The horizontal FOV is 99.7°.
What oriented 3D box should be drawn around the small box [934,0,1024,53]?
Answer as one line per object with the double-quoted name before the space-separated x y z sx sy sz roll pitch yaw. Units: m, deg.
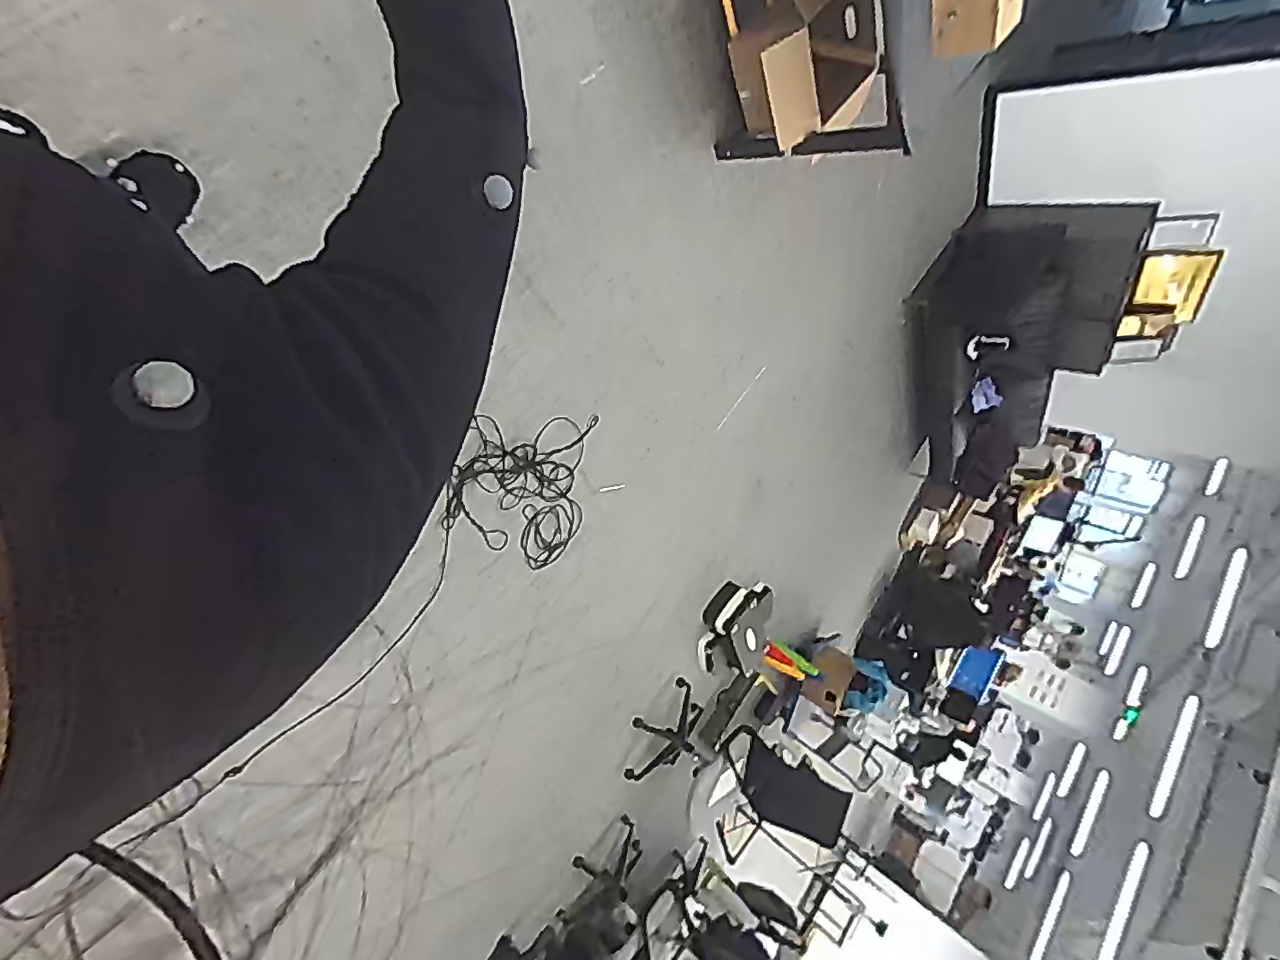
"small box" 0.924 -1.303 1.465 0.179 0.176 0.168 -50 139 -17
